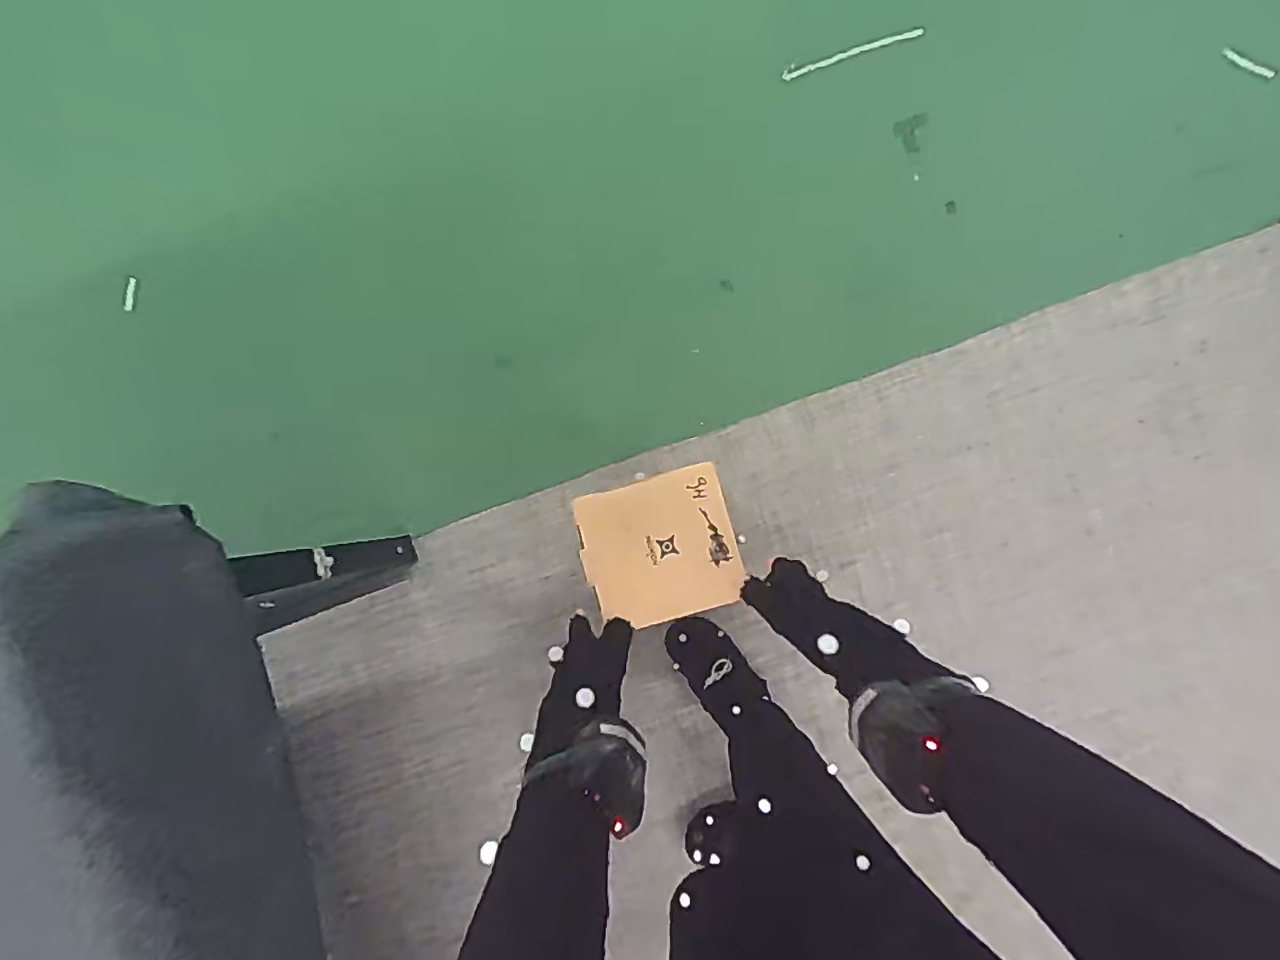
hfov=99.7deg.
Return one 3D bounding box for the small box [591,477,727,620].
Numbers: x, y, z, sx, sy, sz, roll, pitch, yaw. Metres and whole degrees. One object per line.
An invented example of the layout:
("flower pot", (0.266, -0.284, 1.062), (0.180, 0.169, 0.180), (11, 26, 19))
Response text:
("small box", (0.028, 0.105, 0.865), (0.168, 0.176, 0.179), (-16, 87, 1))
